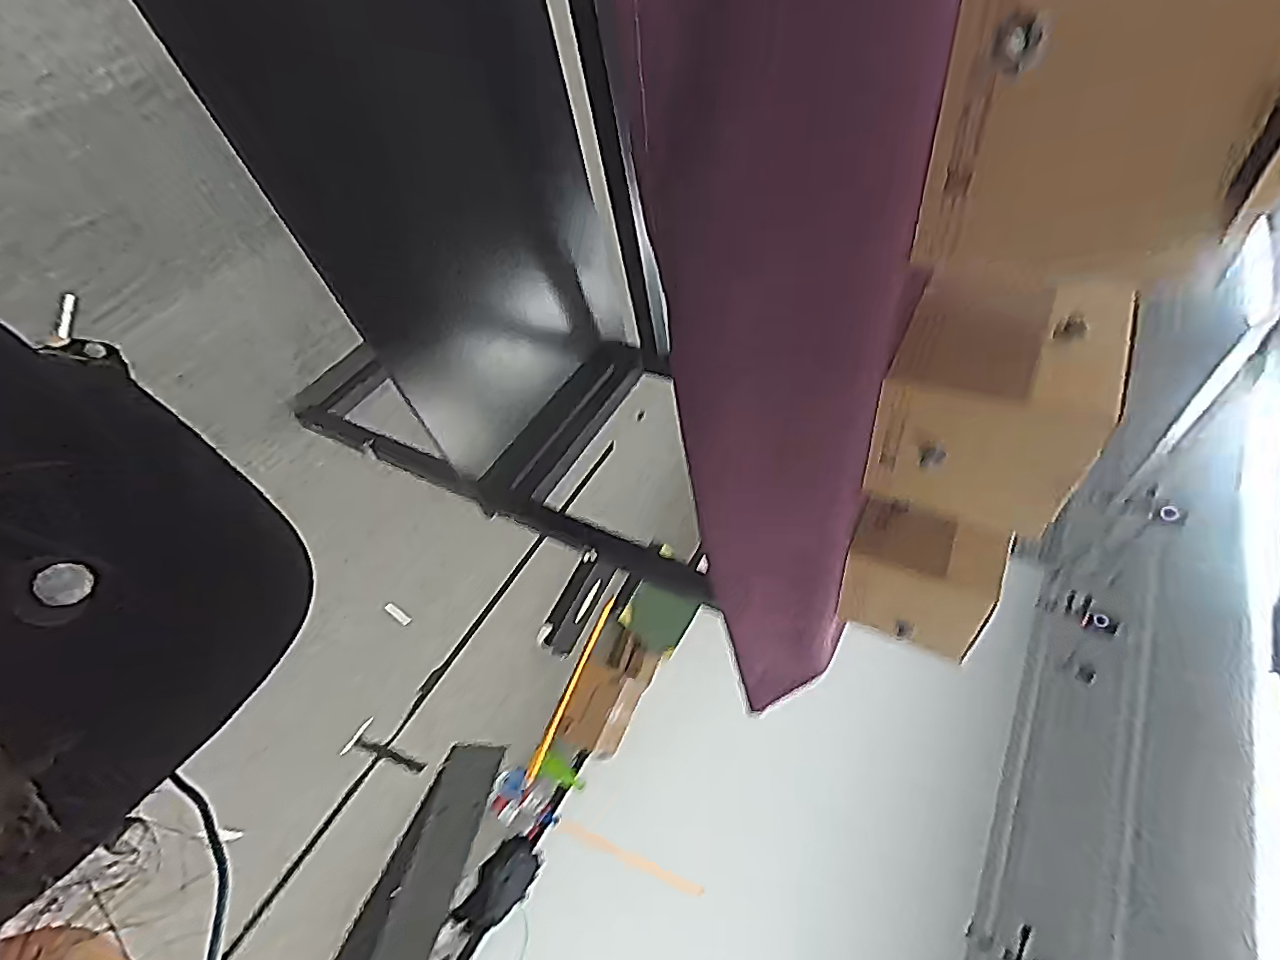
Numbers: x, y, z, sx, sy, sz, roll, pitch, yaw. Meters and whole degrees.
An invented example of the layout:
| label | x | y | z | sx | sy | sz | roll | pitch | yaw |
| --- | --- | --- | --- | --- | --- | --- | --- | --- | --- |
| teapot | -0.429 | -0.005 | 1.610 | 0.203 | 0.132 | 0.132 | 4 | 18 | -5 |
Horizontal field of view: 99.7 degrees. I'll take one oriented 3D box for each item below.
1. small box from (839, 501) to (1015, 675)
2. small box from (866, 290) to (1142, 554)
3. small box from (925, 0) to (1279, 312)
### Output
| label | x | y | z | sx | sy | sz | roll | pitch | yaw |
| --- | --- | --- | --- | --- | --- | --- | --- | --- | --- |
| small box | 0.381 | 0.125 | 0.734 | 0.168 | 0.176 | 0.179 | -54 | 148 | -31 |
| small box | 0.341 | -0.064 | 0.530 | 0.179 | 0.176 | 0.168 | -56 | 149 | -28 |
| small box | 0.297 | -0.232 | 0.336 | 0.179 | 0.176 | 0.168 | -56 | 150 | -28 |
